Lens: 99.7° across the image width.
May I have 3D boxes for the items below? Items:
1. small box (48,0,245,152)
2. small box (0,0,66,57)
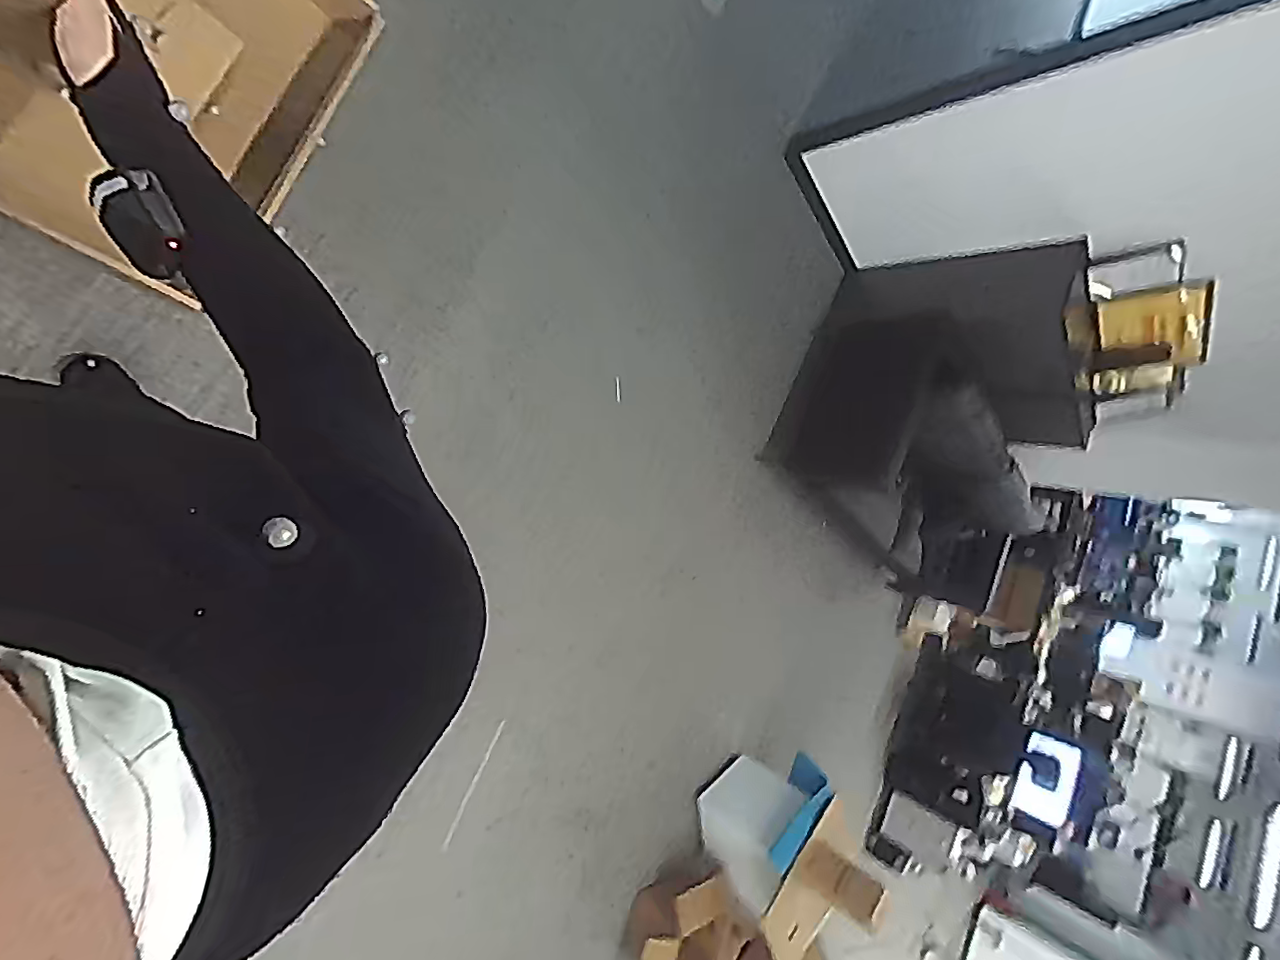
[{"bbox_3d":[-0.721,-0.625,0.790,0.168,0.176,0.179,33,75,-42],"label":"small box"},{"bbox_3d":[-0.496,-0.422,0.343,0.168,0.176,0.179,-7,109,-43],"label":"small box"}]
